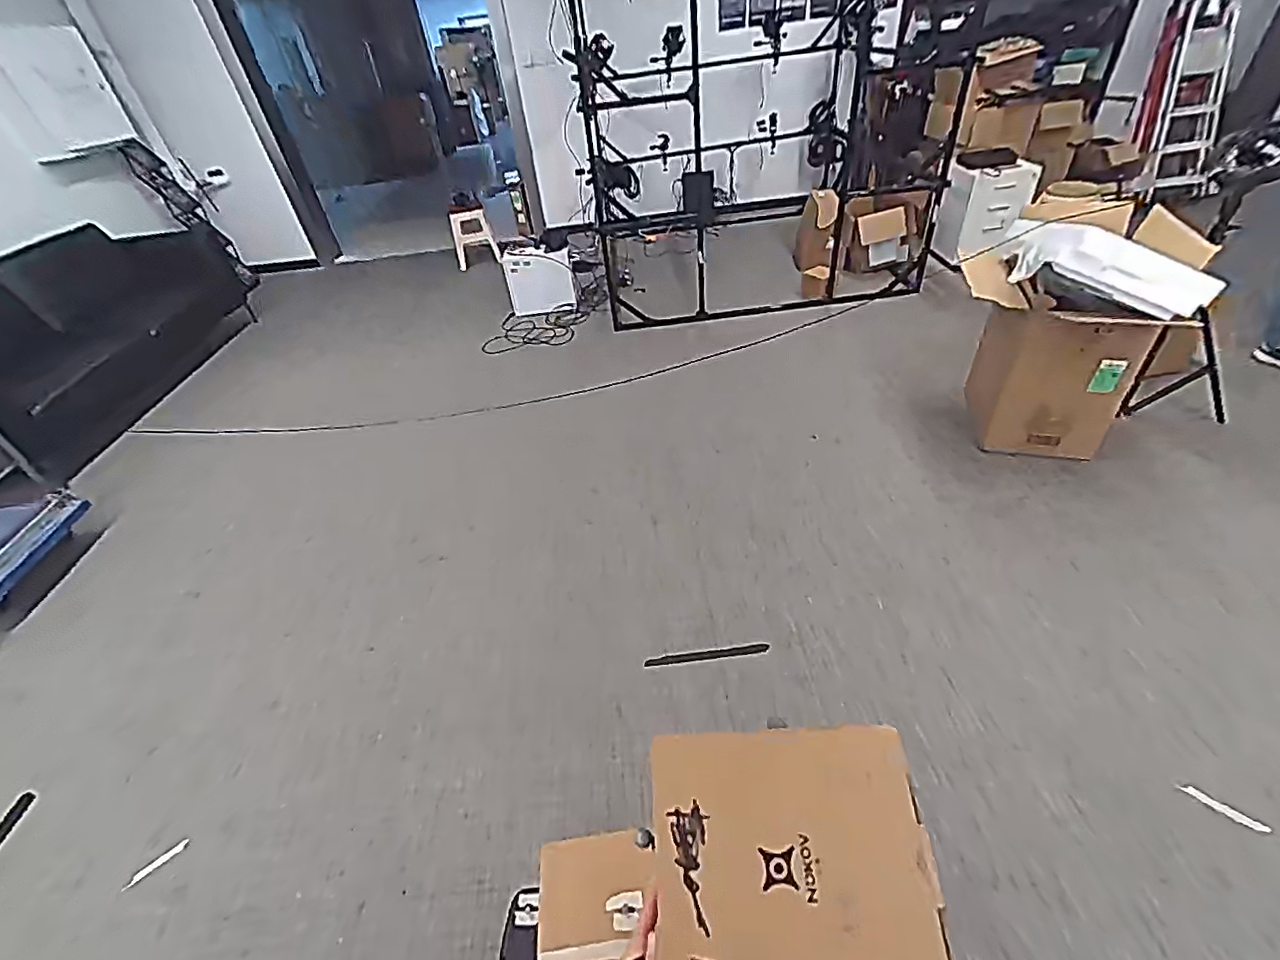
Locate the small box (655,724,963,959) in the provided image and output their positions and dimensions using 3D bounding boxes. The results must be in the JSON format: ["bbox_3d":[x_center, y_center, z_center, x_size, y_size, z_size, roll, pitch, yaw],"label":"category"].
[{"bbox_3d":[0.101,0.277,0.403,0.179,0.176,0.168,-2,61,1],"label":"small box"}]

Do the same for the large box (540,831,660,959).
[{"bbox_3d":[0.068,0.794,0.884,0.408,0.320,0.320,-9,39,0],"label":"large box"}]
